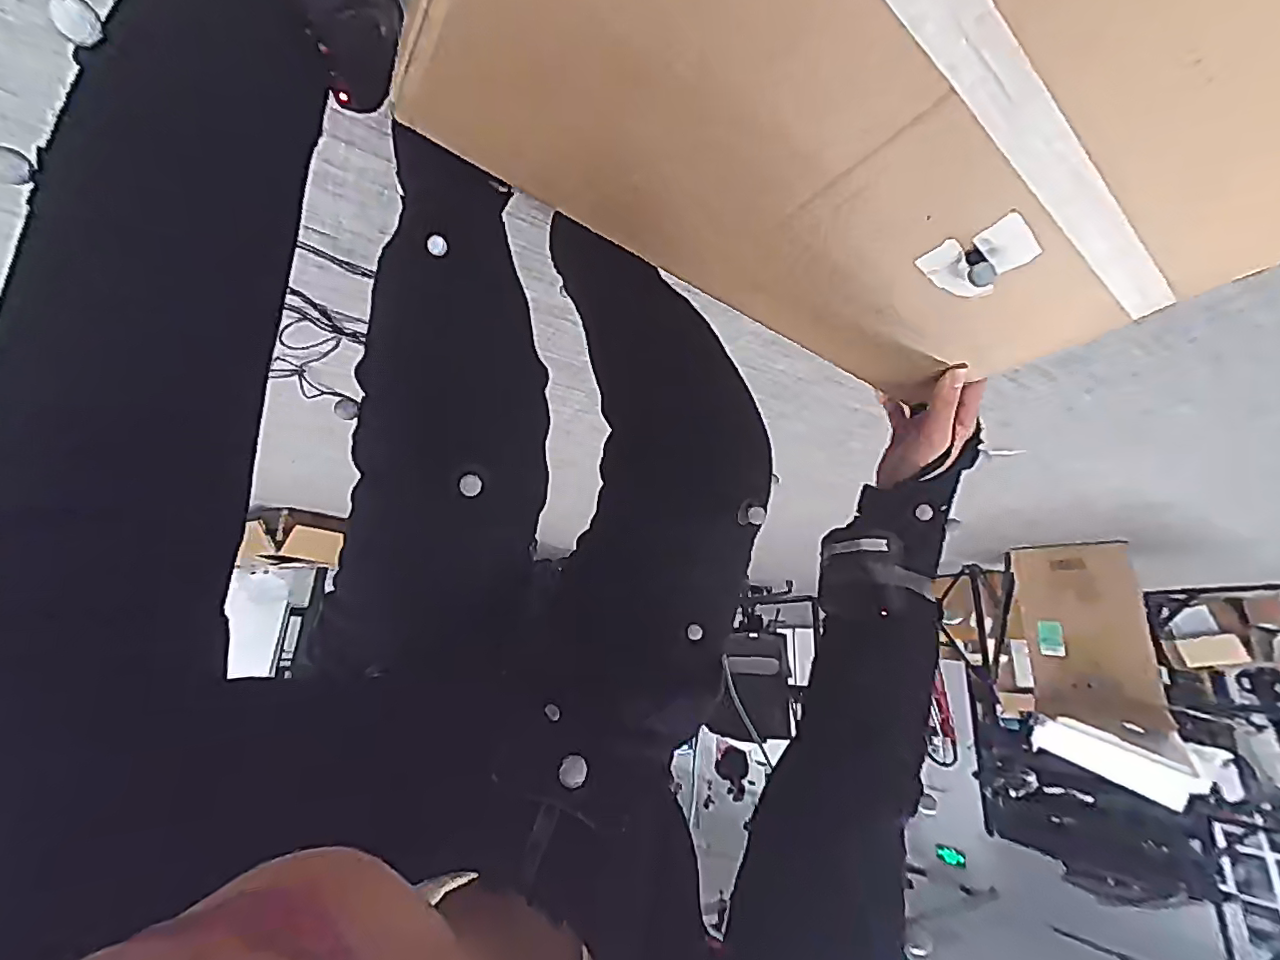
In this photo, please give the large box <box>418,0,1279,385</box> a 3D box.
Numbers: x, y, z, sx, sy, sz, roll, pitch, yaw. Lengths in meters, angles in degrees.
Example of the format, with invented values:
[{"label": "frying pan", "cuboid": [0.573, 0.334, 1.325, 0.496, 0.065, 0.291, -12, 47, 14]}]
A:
[{"label": "large box", "cuboid": [0.148, -0.298, 0.273, 0.408, 0.320, 0.320, 13, 156, -35]}]
